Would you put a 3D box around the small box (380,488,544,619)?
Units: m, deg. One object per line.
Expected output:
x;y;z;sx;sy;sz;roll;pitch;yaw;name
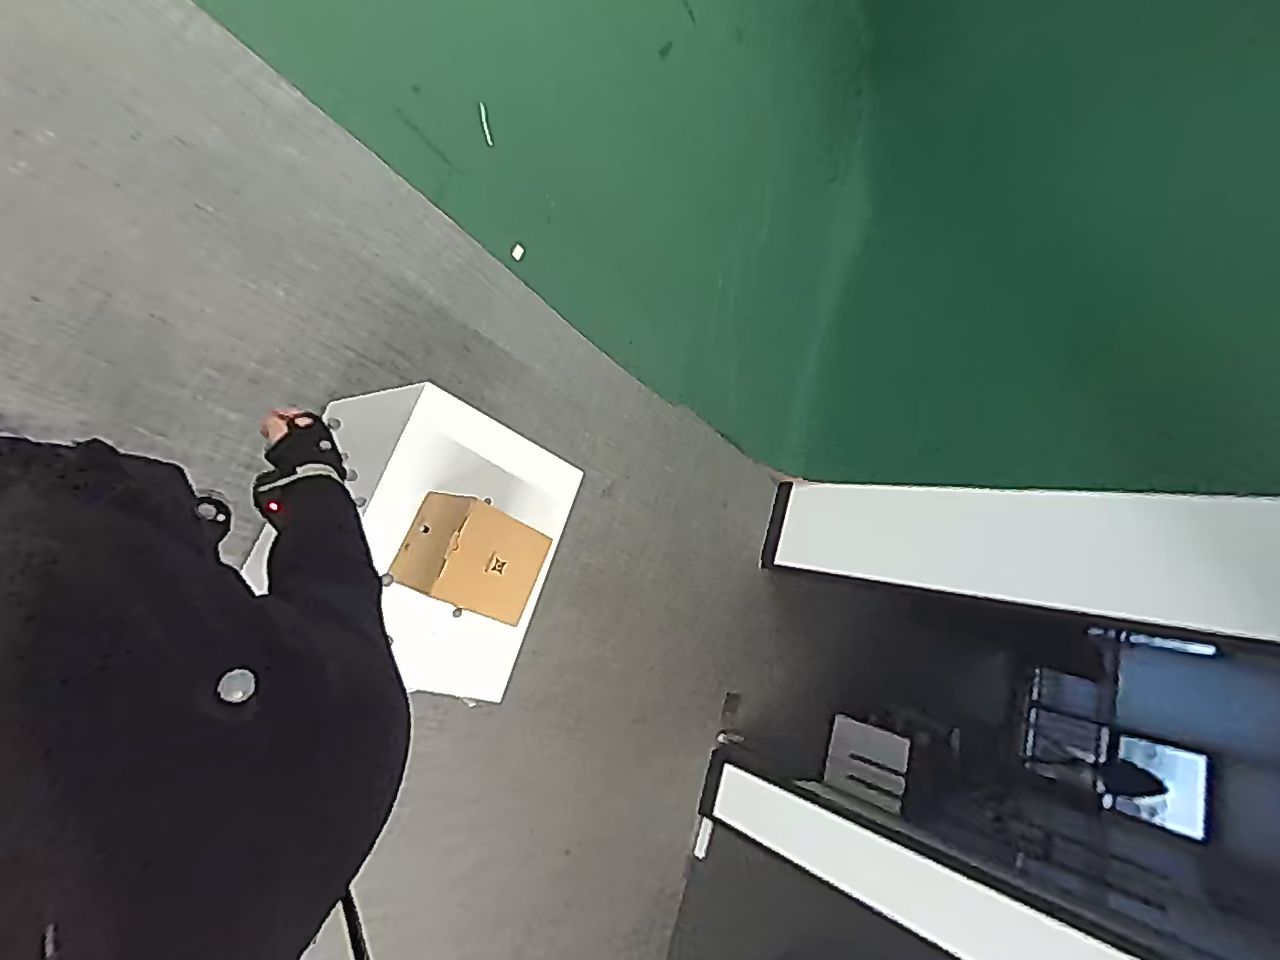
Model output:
-0.306;0.121;0.933;0.179;0.176;0.168;37;67;-42;small box
